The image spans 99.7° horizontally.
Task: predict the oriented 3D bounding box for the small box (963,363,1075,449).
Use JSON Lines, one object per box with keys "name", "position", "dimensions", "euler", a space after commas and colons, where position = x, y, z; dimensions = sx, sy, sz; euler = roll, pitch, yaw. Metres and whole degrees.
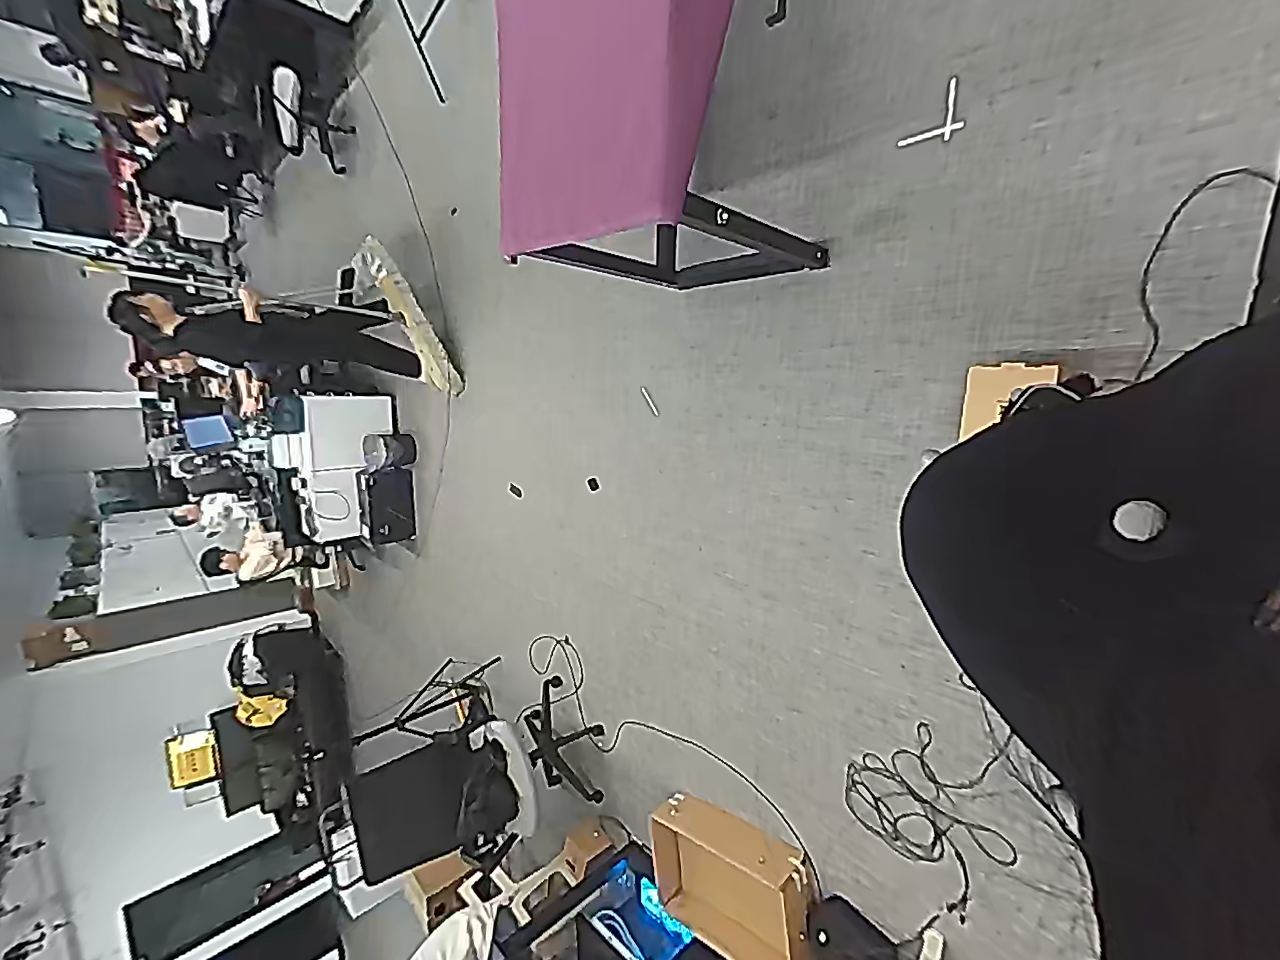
{"name": "small box", "position": [0.849, -0.166, 1.208], "dimensions": [0.168, 0.176, 0.179], "euler": [12, 102, 45]}
